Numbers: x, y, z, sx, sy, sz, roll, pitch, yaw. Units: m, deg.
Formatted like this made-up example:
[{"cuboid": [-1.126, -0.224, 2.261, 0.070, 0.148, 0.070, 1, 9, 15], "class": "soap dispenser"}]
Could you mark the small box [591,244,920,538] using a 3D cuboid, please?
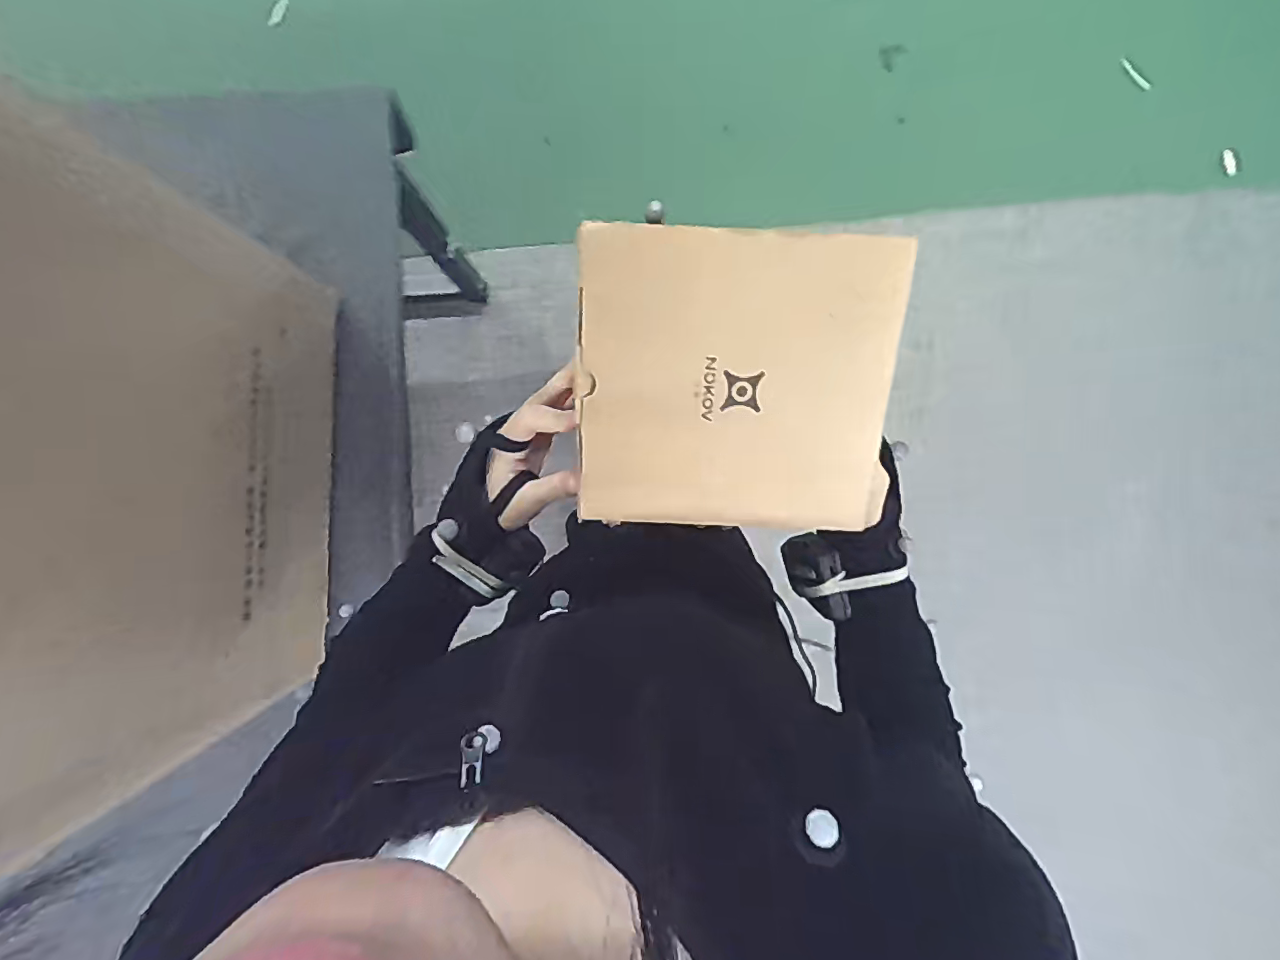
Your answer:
[{"cuboid": [0.060, -0.070, 0.387, 0.179, 0.176, 0.168, 2, 109, 0], "class": "small box"}]
